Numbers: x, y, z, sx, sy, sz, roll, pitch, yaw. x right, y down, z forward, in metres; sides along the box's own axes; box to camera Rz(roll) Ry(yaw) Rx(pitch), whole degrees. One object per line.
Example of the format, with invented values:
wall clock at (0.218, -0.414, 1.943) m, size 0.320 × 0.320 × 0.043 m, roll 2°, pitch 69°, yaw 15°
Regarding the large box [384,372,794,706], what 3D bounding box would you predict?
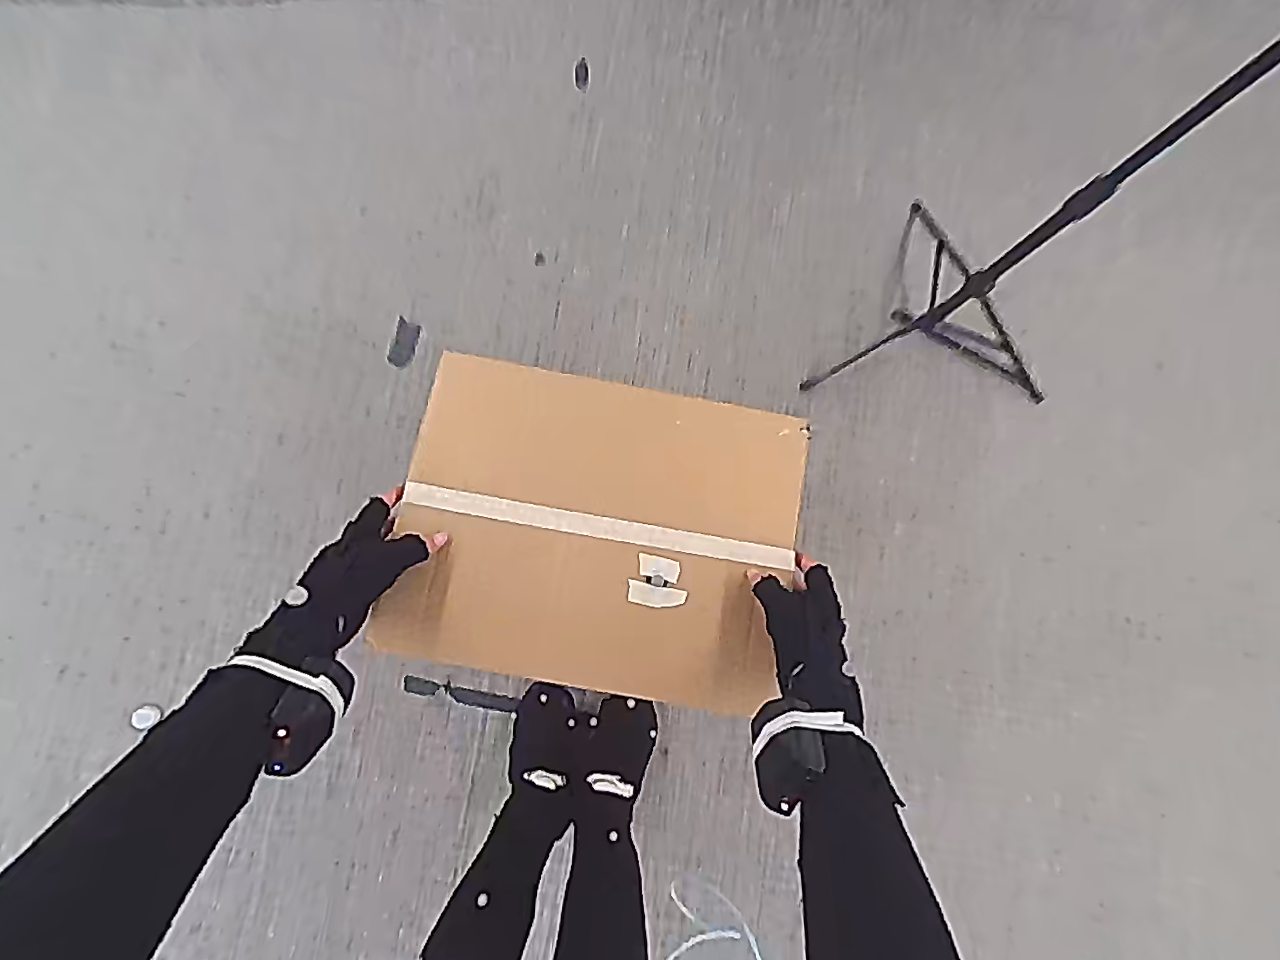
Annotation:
large box at (-0.052, 0.088, 0.724) m, size 0.408 × 0.320 × 0.320 m, roll 10°, pitch 78°, yaw -2°
